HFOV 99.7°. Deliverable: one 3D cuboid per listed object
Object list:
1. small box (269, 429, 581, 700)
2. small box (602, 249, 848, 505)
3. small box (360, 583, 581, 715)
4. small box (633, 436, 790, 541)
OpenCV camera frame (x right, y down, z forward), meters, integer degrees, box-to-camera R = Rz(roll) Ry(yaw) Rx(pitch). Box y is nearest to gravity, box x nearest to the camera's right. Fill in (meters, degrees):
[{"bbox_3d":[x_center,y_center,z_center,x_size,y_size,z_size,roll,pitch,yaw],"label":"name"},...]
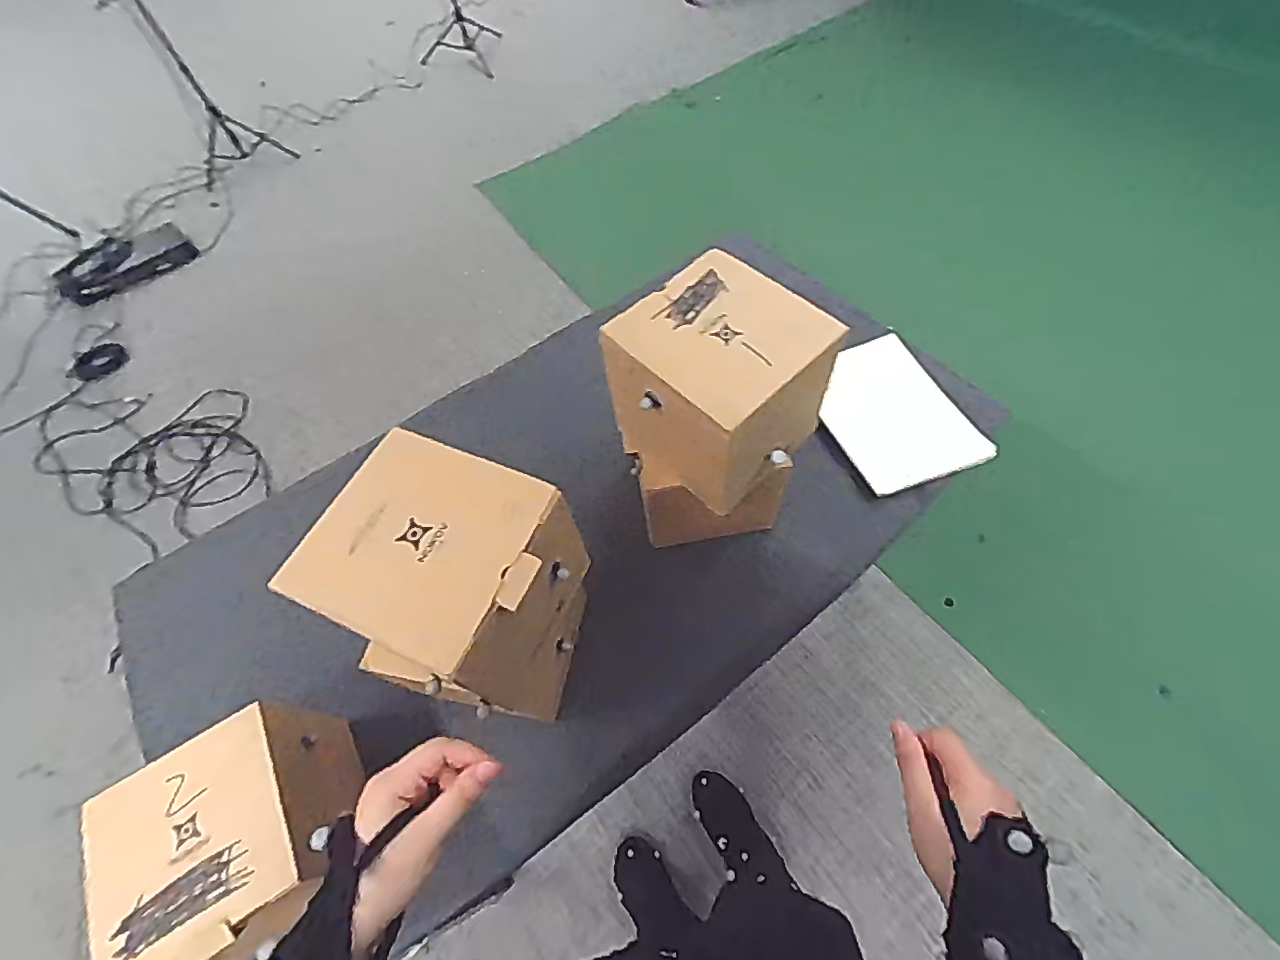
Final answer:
[{"bbox_3d":[-0.171,0.086,0.497,0.179,0.176,0.168,19,63,15],"label":"small box"},{"bbox_3d":[0.083,-0.104,0.582,0.168,0.176,0.179,-41,65,-16],"label":"small box"},{"bbox_3d":[-0.178,0.170,0.638,0.179,0.176,0.168,8,61,9],"label":"small box"},{"bbox_3d":[0.083,-0.033,0.732,0.179,0.176,0.168,-10,60,0],"label":"small box"}]
